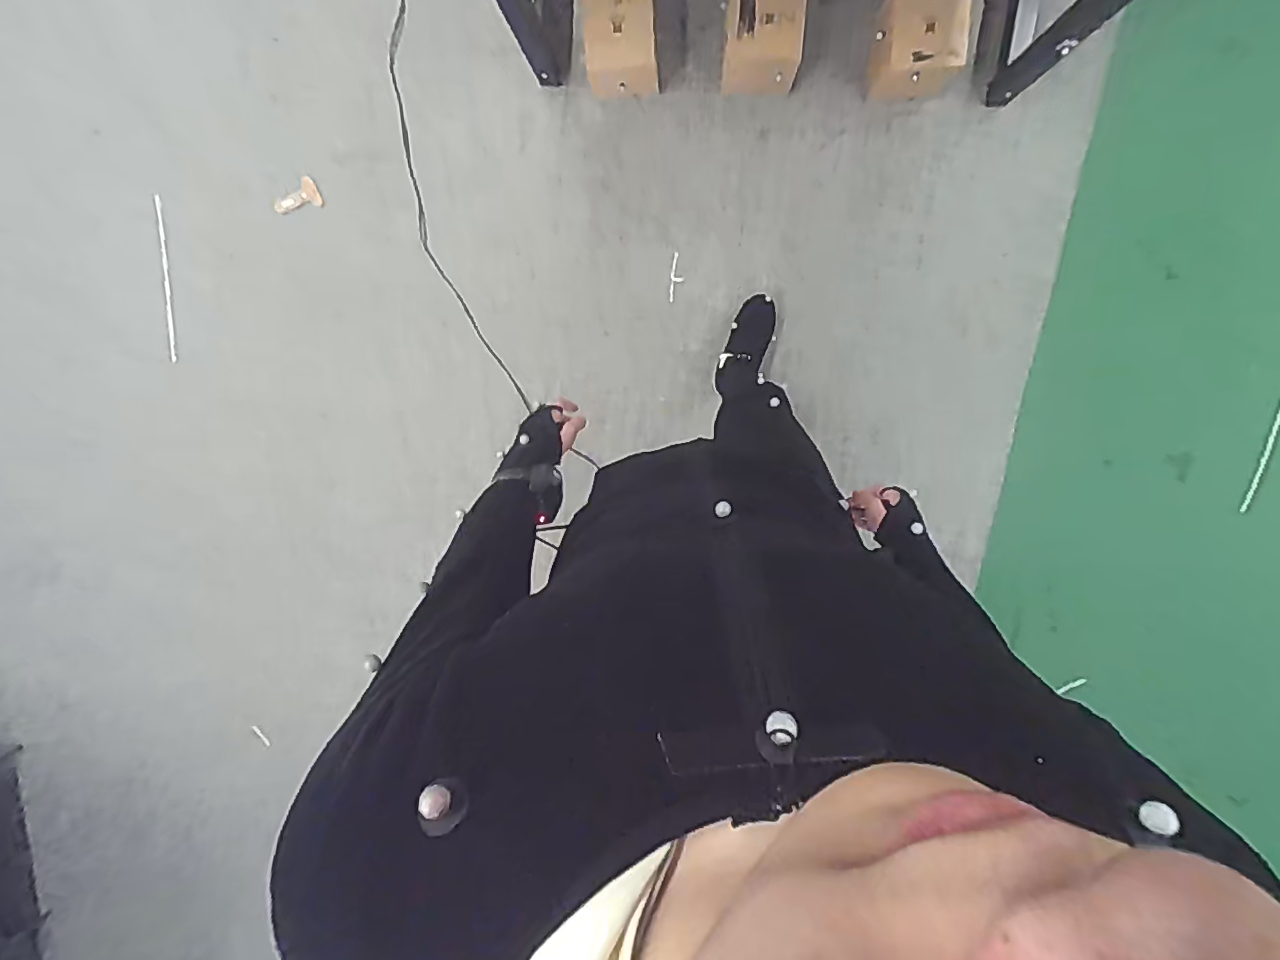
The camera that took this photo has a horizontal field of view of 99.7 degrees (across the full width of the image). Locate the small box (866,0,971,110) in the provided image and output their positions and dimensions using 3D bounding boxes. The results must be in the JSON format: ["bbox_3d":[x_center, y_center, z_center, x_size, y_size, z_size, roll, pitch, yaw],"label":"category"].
[{"bbox_3d":[0.642,-1.005,1.265,0.168,0.176,0.179,0,101,5],"label":"small box"}]

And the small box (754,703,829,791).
[{"bbox_3d":[0.453,0.804,1.646,0.179,0.176,0.168,7,103,2],"label":"small box"}]

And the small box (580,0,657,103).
[{"bbox_3d":[-0.047,-1.050,1.315,0.168,0.176,0.179,-2,101,5],"label":"small box"}]
